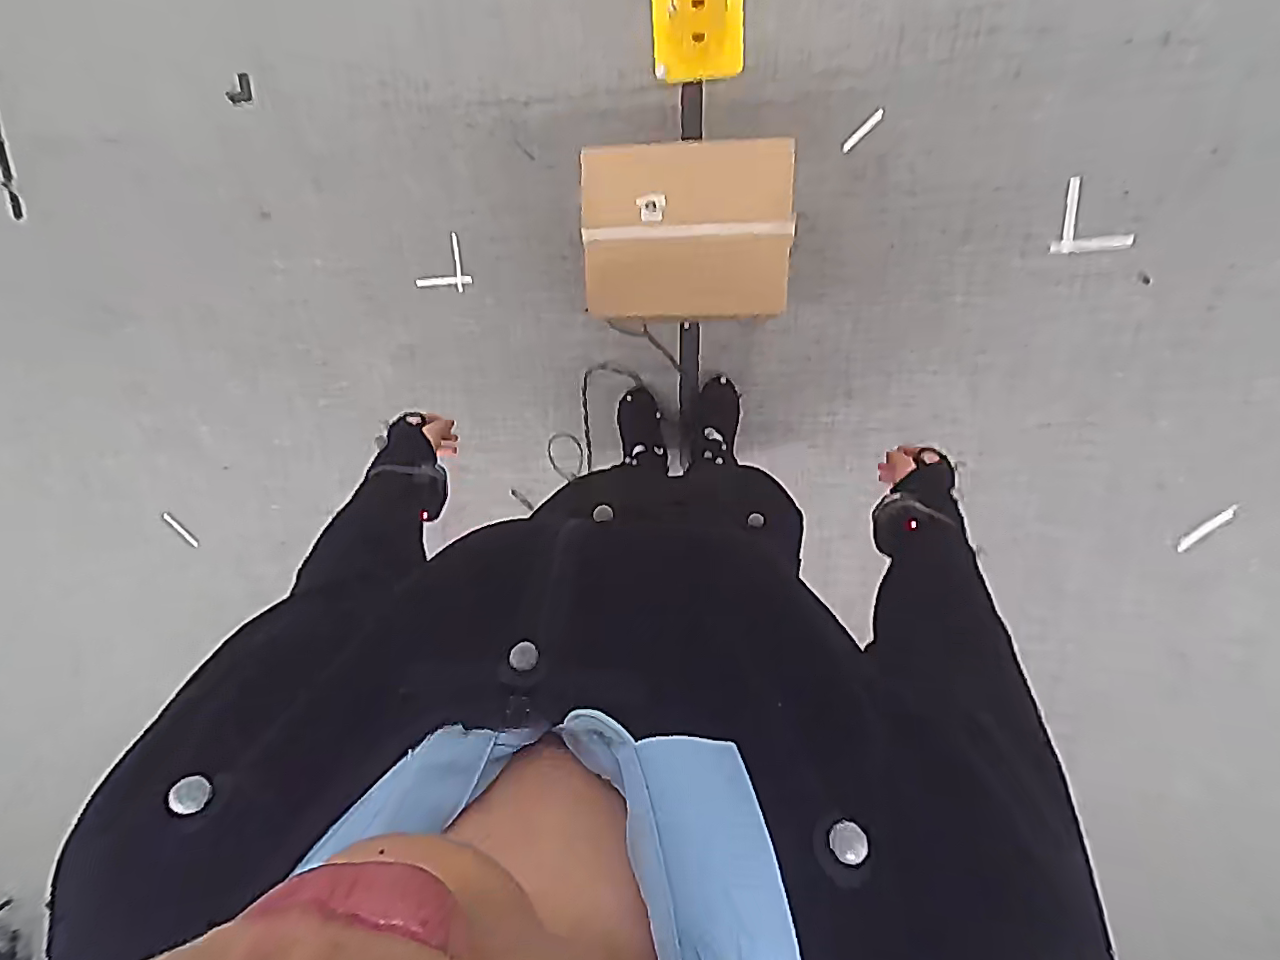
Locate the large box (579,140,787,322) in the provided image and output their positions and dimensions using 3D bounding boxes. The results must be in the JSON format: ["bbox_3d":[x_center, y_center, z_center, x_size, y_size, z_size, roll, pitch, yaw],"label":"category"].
[{"bbox_3d":[0.099,-0.521,1.205,0.408,0.320,0.320,1,103,6],"label":"large box"}]
